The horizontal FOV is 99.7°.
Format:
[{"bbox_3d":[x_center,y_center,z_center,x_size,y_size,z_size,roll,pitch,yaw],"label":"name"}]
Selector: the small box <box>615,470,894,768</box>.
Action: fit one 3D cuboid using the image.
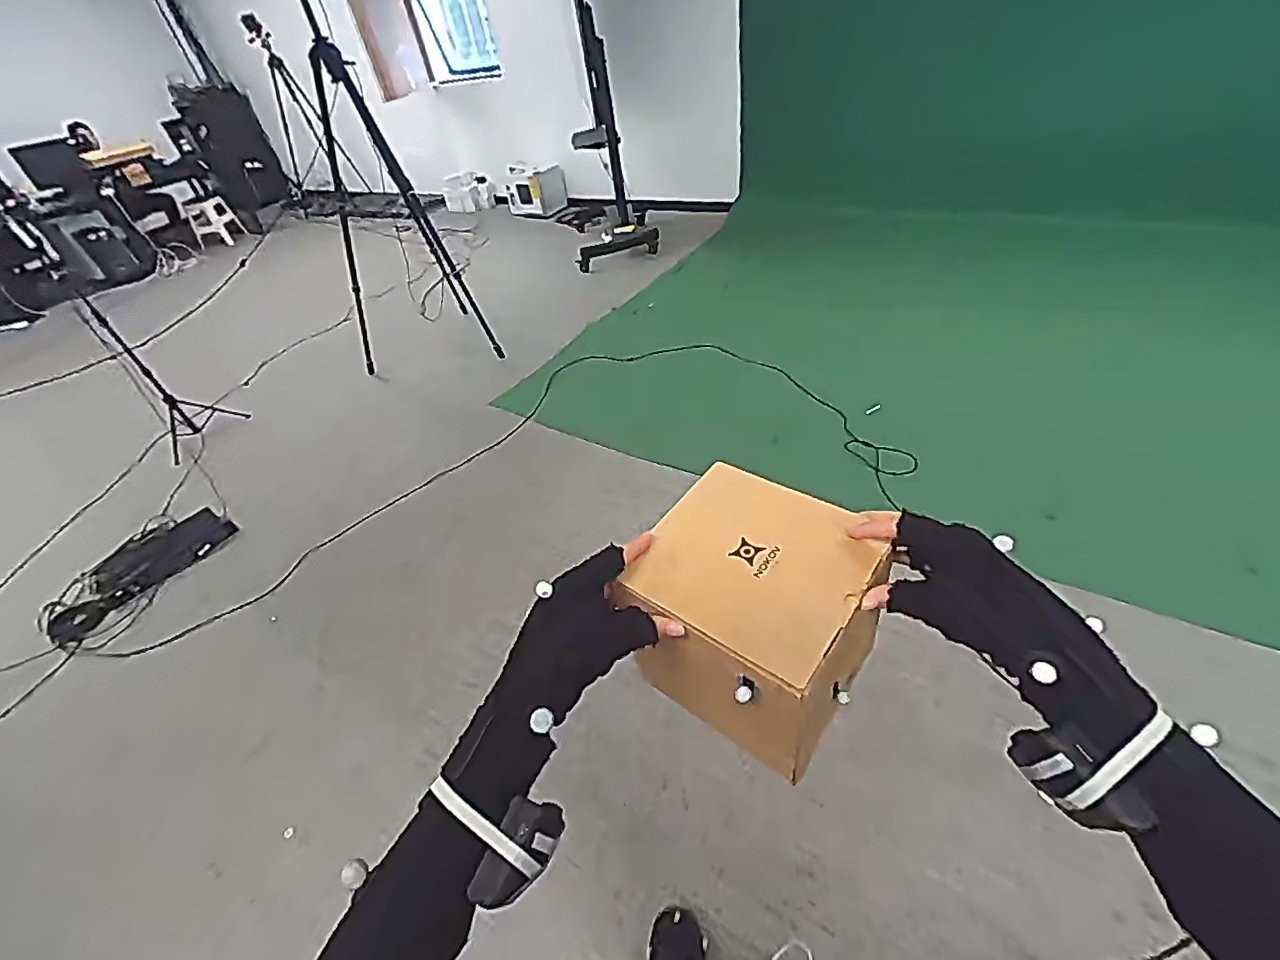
[{"bbox_3d":[0.103,0.125,0.501,0.179,0.176,0.168,25,53,33],"label":"small box"}]
